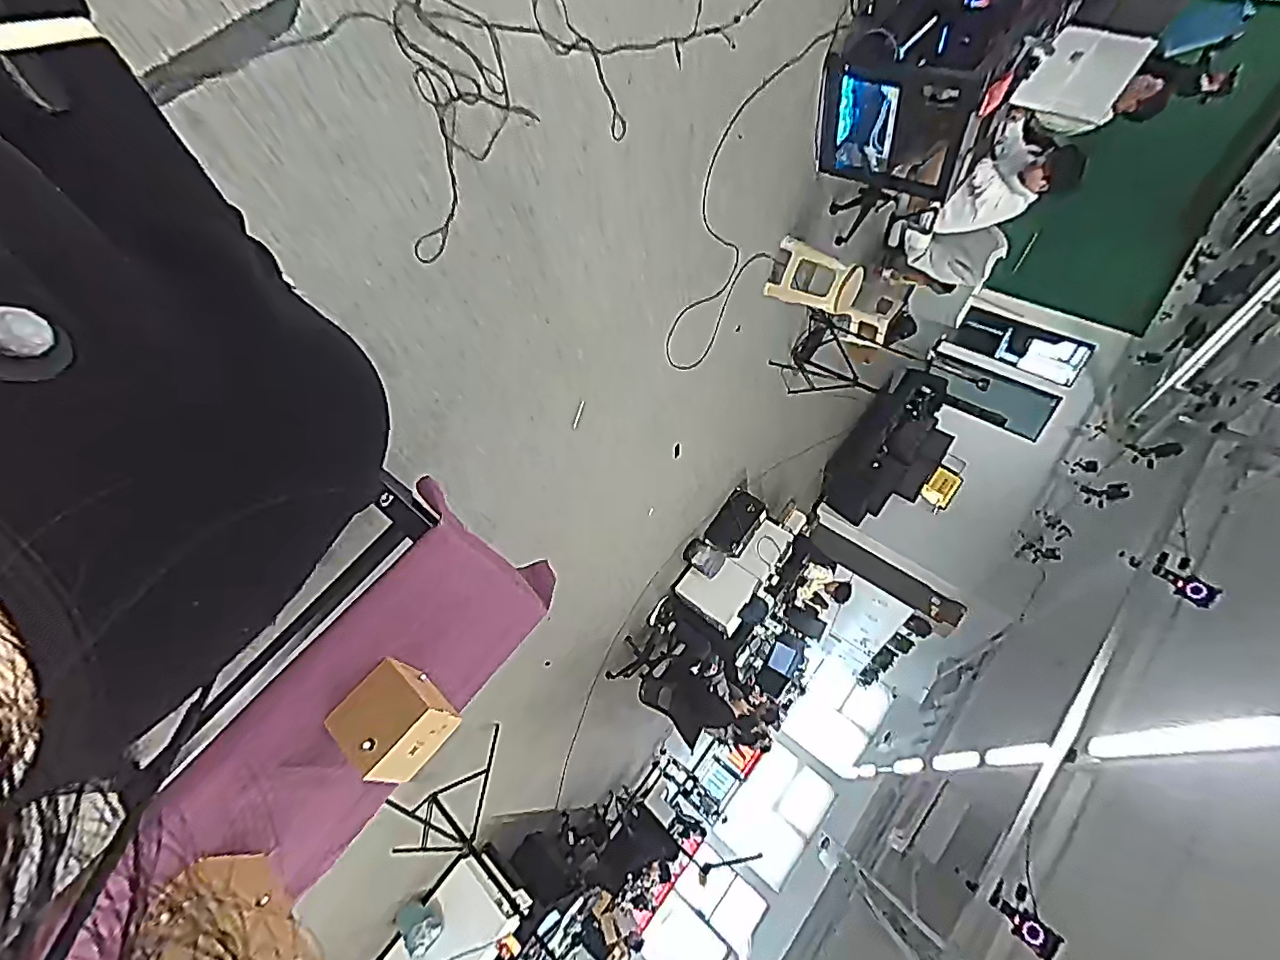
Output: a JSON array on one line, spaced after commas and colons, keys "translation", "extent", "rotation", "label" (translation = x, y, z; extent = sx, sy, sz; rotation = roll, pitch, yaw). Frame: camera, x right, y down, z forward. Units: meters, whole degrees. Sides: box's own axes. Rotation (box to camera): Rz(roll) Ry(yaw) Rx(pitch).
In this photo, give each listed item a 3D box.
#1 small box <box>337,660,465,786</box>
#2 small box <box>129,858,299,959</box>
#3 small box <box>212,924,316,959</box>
[{"translation": [-0.530, 0.534, 1.191], "extent": [0.179, 0.176, 0.168], "rotation": [-48, 152, -19], "label": "small box"}, {"translation": [-0.831, 0.881, 1.062], "extent": [0.168, 0.176, 0.179], "rotation": [-48, 151, -18], "label": "small box"}, {"translation": [-0.709, 0.957, 0.984], "extent": [0.168, 0.176, 0.179], "rotation": [-47, 152, -20], "label": "small box"}]
